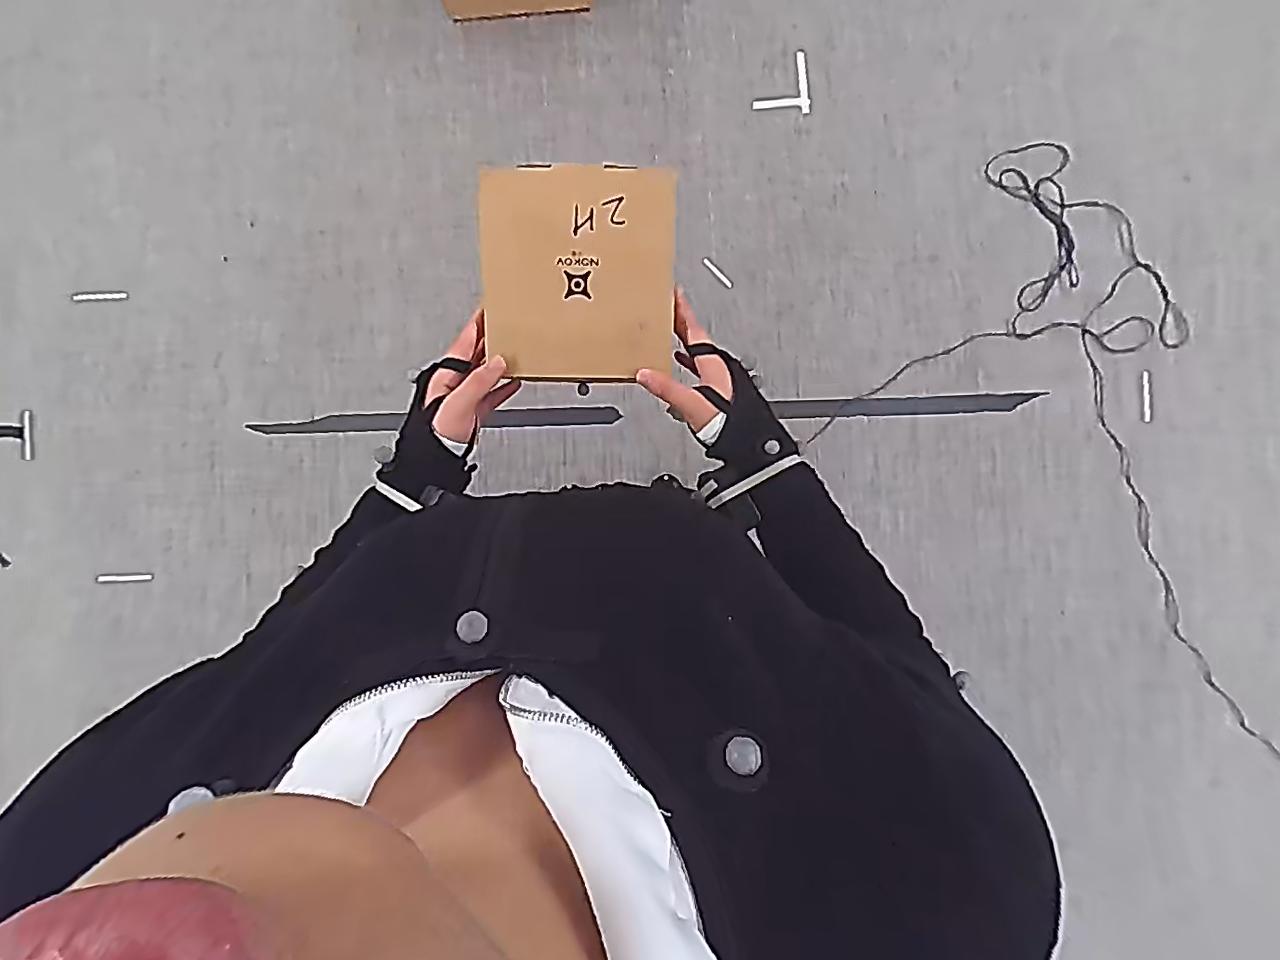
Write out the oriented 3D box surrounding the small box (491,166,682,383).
[{"bbox_3d":[-0.047,-0.190,0.549,0.168,0.176,0.179,1,98,-1],"label":"small box"}]
